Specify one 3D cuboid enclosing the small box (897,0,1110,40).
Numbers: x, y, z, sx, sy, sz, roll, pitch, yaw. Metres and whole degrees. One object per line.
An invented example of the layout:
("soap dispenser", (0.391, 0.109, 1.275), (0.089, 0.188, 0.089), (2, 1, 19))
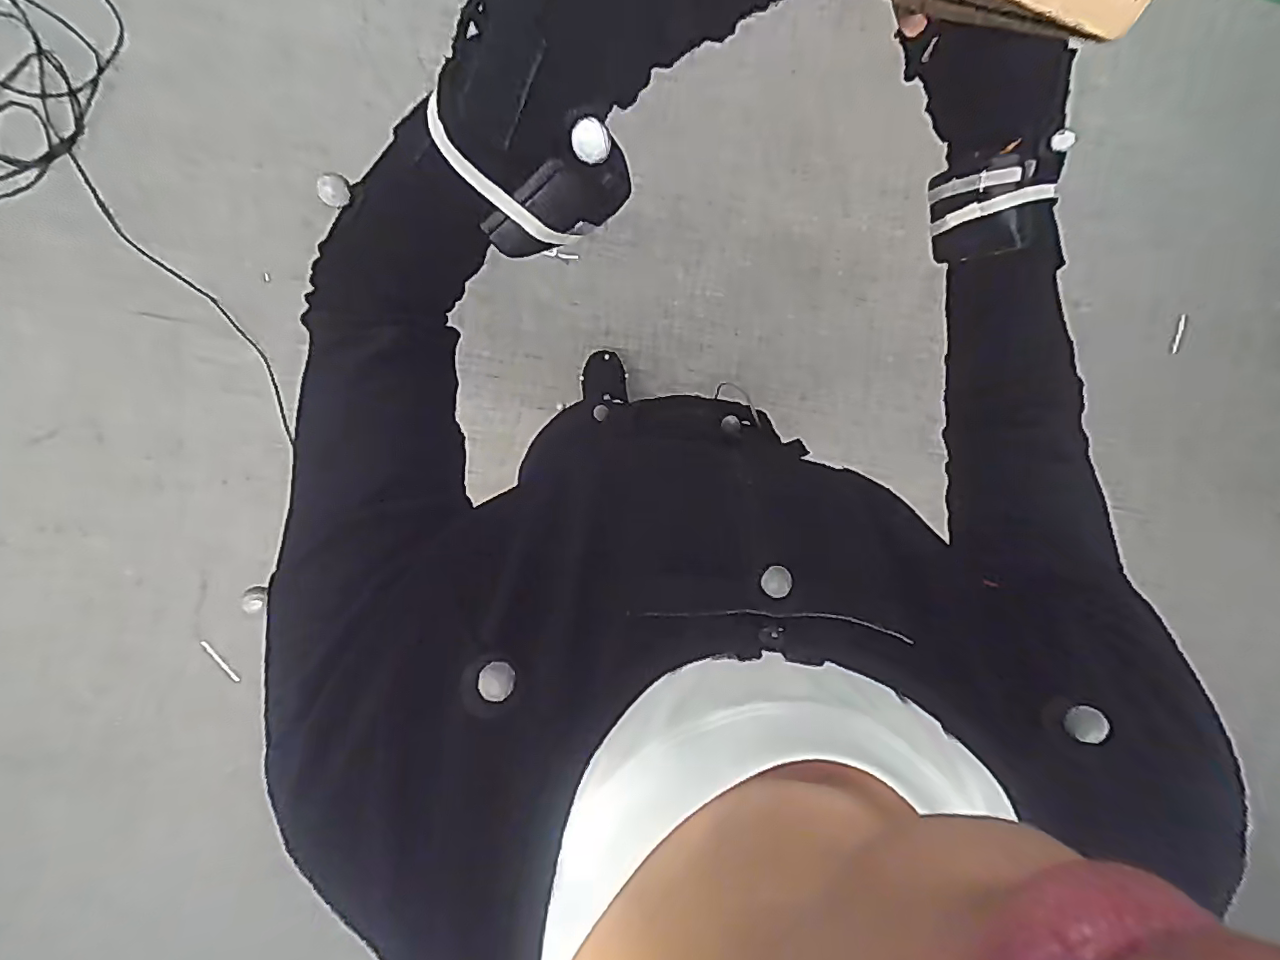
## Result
("small box", (0.135, -0.319, 0.226), (0.168, 0.179, 0.176), (5, 133, -16))
